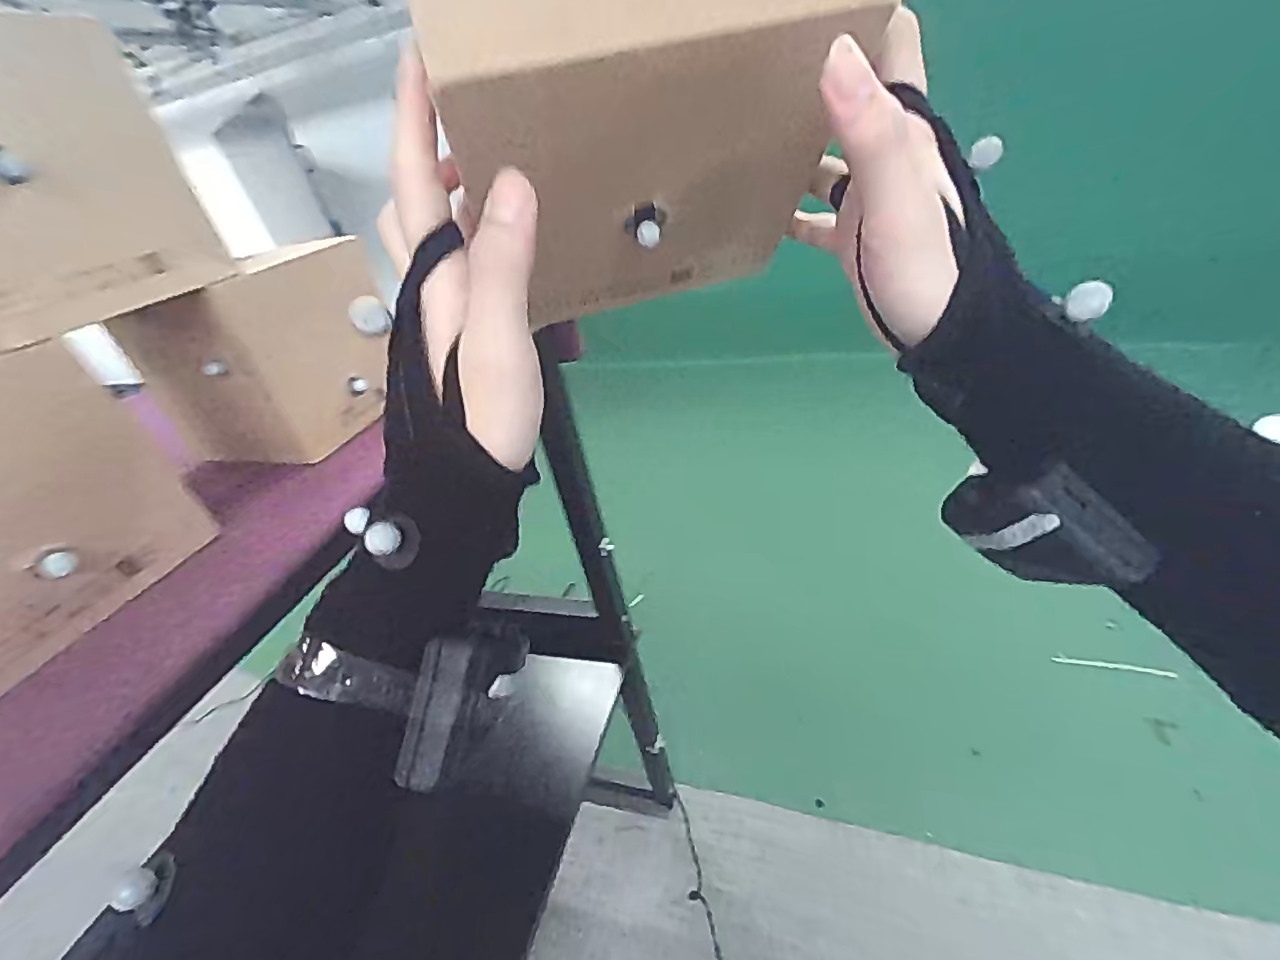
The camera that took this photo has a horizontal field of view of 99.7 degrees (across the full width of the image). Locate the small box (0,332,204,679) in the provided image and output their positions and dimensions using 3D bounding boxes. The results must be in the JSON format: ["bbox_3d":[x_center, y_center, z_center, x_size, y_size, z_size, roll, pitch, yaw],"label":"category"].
[{"bbox_3d":[-0.456,0.018,0.353,0.179,0.176,0.168,2,36,20],"label":"small box"}]

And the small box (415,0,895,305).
[{"bbox_3d":[-0.012,-0.209,0.274,0.168,0.179,0.176,-14,-11,-7],"label":"small box"}]

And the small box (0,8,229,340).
[{"bbox_3d":[-0.444,-0.193,0.369,0.179,0.176,0.168,1,36,21],"label":"small box"}]
